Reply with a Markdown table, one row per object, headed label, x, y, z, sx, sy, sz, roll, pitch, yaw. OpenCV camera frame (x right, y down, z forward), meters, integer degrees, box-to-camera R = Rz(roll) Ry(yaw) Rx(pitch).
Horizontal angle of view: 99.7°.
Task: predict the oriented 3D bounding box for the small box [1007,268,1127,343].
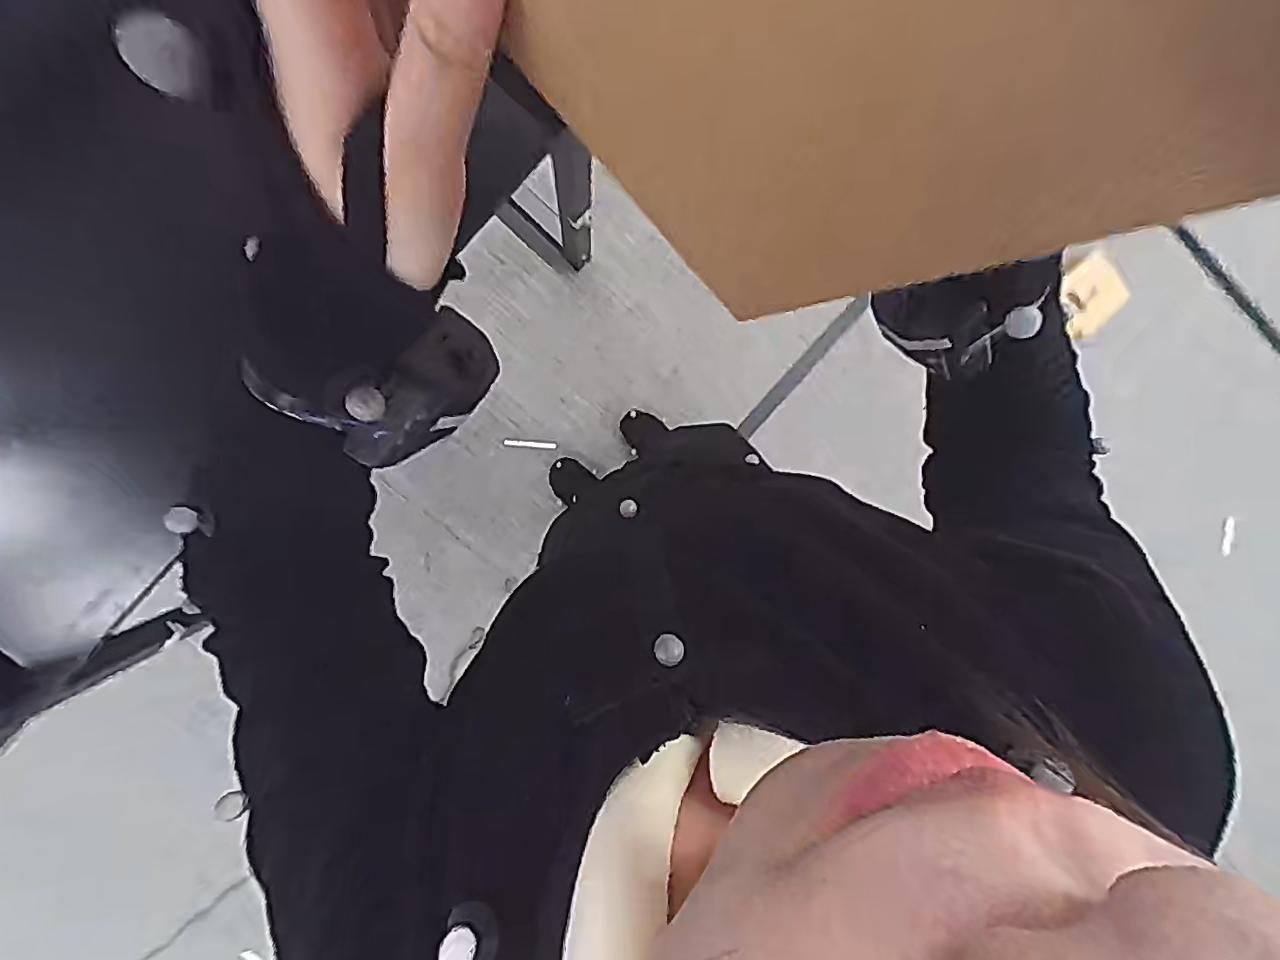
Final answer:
| label | x | y | z | sx | sy | sz | roll | pitch | yaw |
| --- | --- | --- | --- | --- | --- | --- | --- | --- | --- |
| small box | 1.165 | -0.502 | 1.496 | 0.179 | 0.176 | 0.168 | -43 | 98 | -2 |

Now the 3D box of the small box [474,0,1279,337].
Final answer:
| label | x | y | z | sx | sy | sz | roll | pitch | yaw |
| --- | --- | --- | --- | --- | --- | --- | --- | --- | --- |
| small box | 0.066 | -0.155 | 0.090 | 0.176 | 0.168 | 0.179 | 42 | 78 | -23 |
